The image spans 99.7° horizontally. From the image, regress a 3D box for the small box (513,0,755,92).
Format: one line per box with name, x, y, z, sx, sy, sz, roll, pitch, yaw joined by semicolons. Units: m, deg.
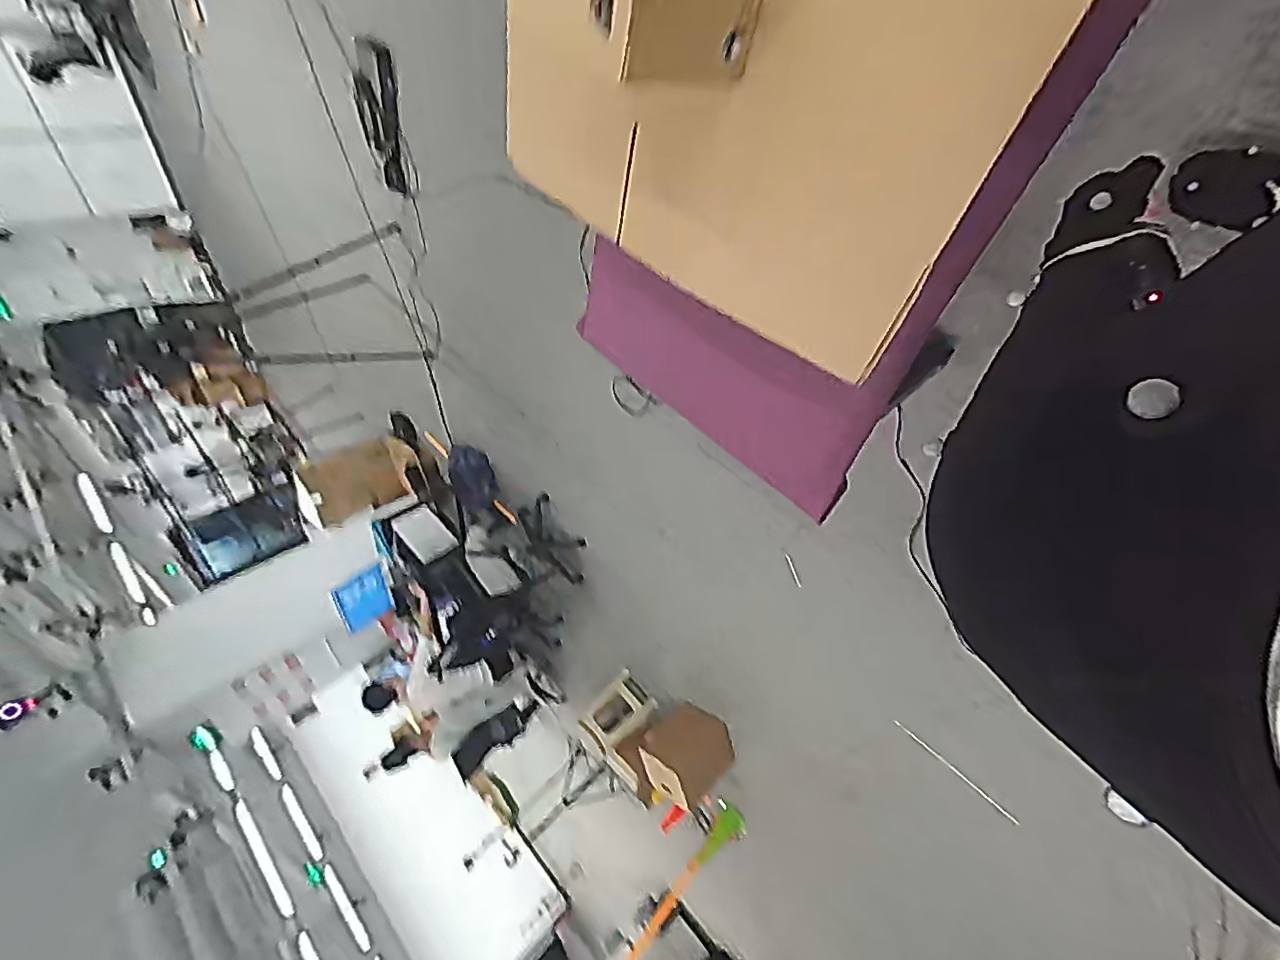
small box;0.003;-0.479;0.493;0.179;0.176;0.168;39;141;24
